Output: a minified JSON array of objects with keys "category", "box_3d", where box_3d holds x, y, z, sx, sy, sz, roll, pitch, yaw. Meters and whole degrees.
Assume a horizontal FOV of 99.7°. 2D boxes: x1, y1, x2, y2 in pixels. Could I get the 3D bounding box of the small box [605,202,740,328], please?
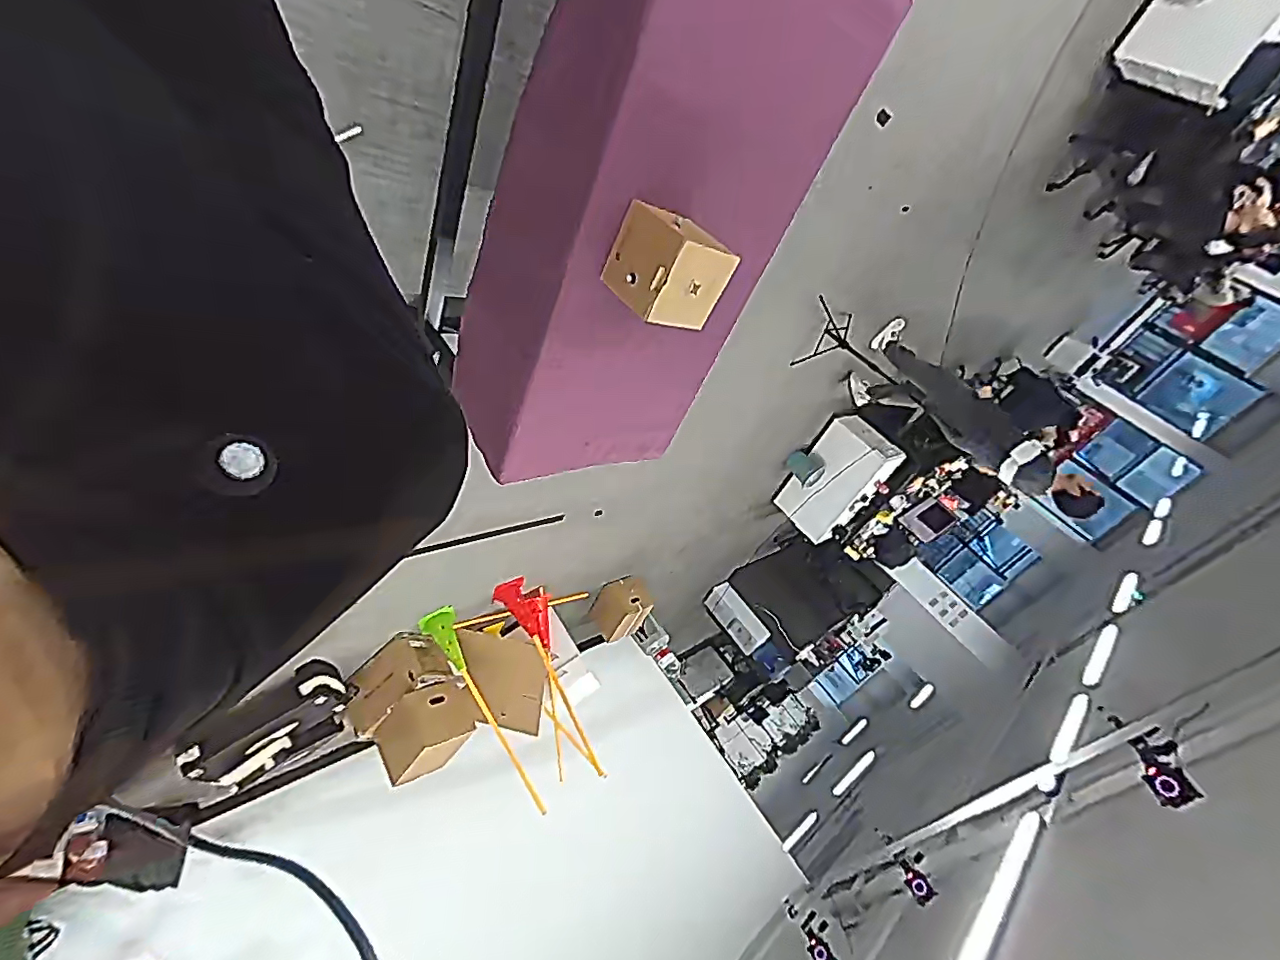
[{"category":"small box","box_3d":[0.058,-0.431,1.088,0.179,0.176,0.168,-9,140,-46]}]
